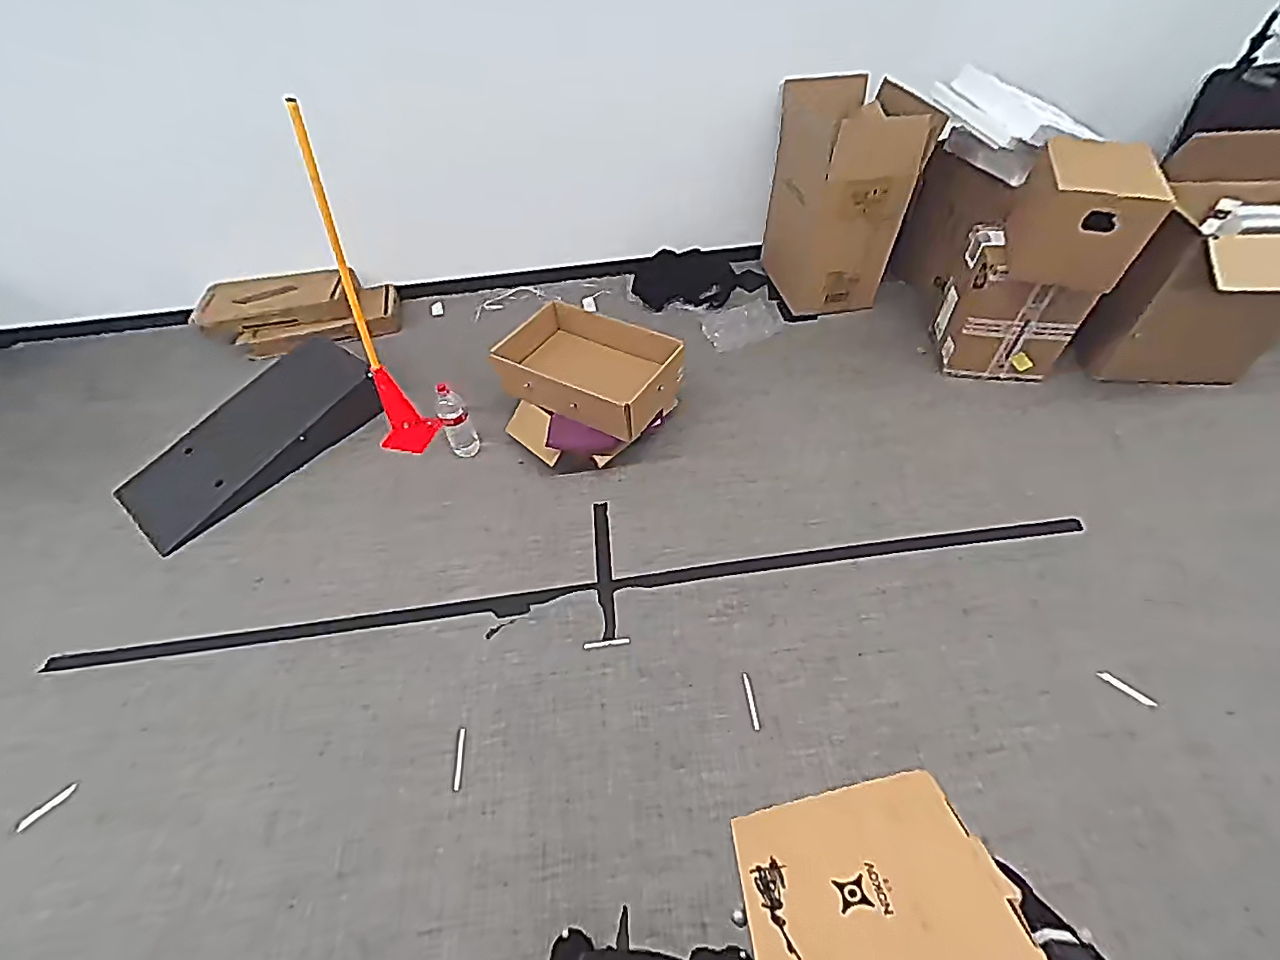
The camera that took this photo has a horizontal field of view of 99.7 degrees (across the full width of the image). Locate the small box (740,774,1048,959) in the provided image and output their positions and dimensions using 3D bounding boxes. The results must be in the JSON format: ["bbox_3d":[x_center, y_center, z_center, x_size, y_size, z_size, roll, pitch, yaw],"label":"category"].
[{"bbox_3d":[0.192,0.373,0.418,0.179,0.176,0.168,-17,16,6],"label":"small box"}]
